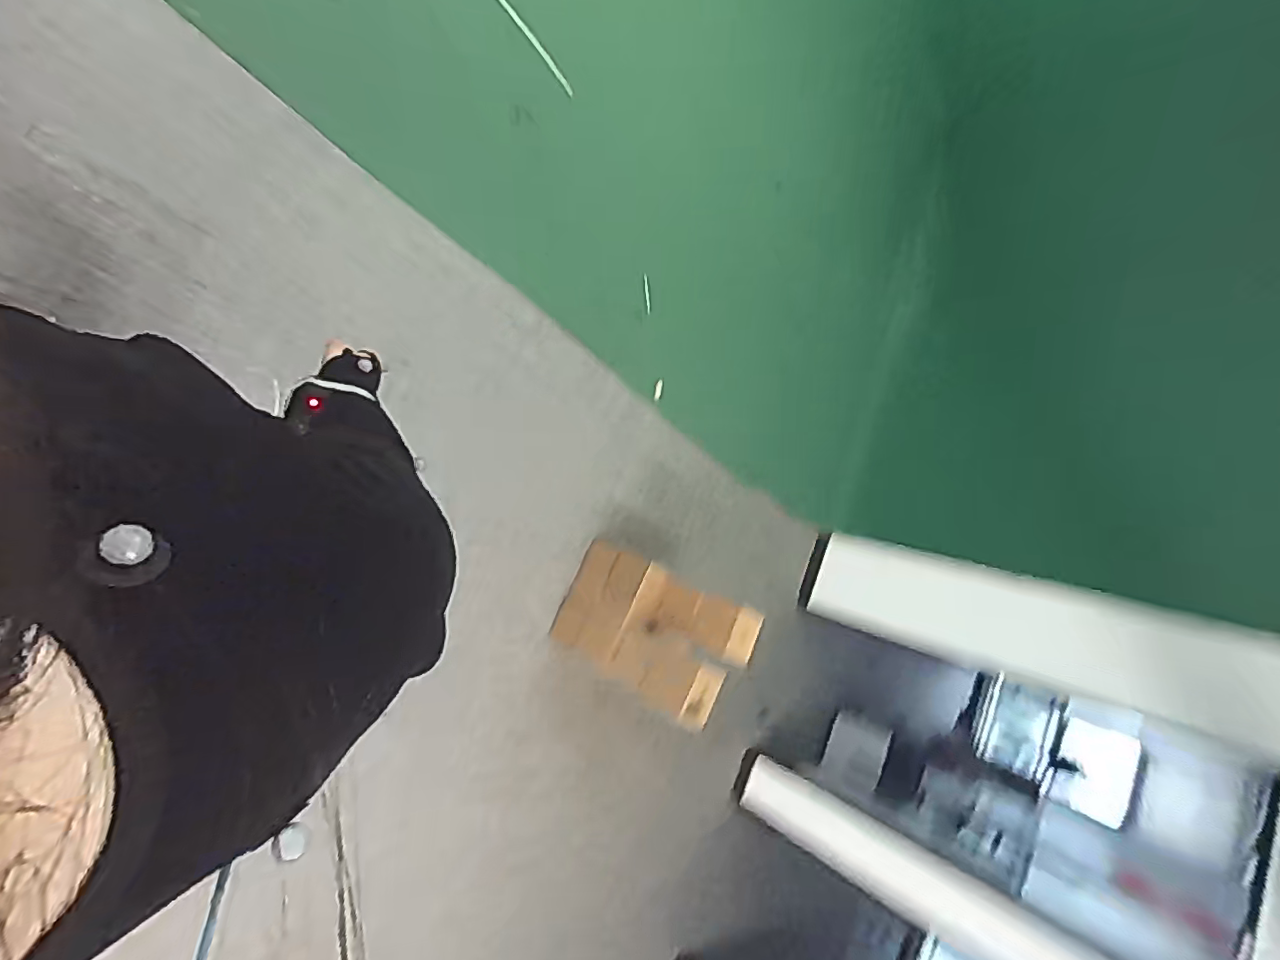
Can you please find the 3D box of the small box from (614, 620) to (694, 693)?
[{"bbox_3d":[0.047,0.592,1.824,0.179,0.176,0.168,39,72,-46],"label":"small box"}]

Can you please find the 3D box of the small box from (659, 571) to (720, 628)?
[{"bbox_3d":[0.195,0.442,1.947,0.179,0.176,0.168,37,73,-46],"label":"small box"}]

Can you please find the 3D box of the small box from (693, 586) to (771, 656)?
[{"bbox_3d":[0.313,0.476,1.838,0.179,0.176,0.168,36,74,-44],"label":"small box"}]
